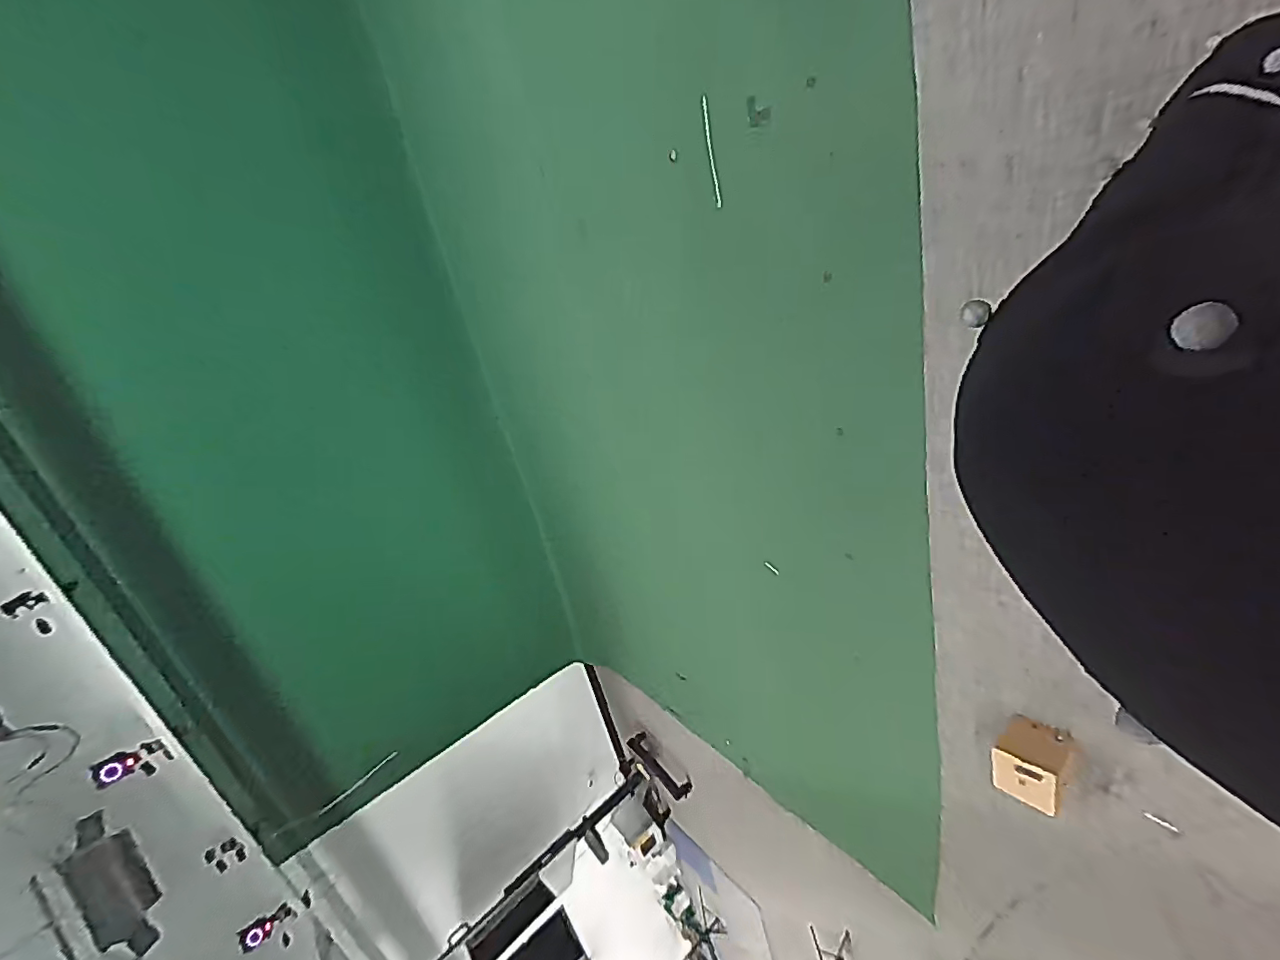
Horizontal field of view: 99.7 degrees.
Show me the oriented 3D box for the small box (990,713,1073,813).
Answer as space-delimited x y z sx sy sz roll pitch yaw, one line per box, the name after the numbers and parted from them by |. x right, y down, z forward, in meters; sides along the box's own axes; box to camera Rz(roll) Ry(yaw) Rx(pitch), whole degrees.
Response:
1.207 0.862 1.667 0.168 0.176 0.179 14 125 52 | small box
